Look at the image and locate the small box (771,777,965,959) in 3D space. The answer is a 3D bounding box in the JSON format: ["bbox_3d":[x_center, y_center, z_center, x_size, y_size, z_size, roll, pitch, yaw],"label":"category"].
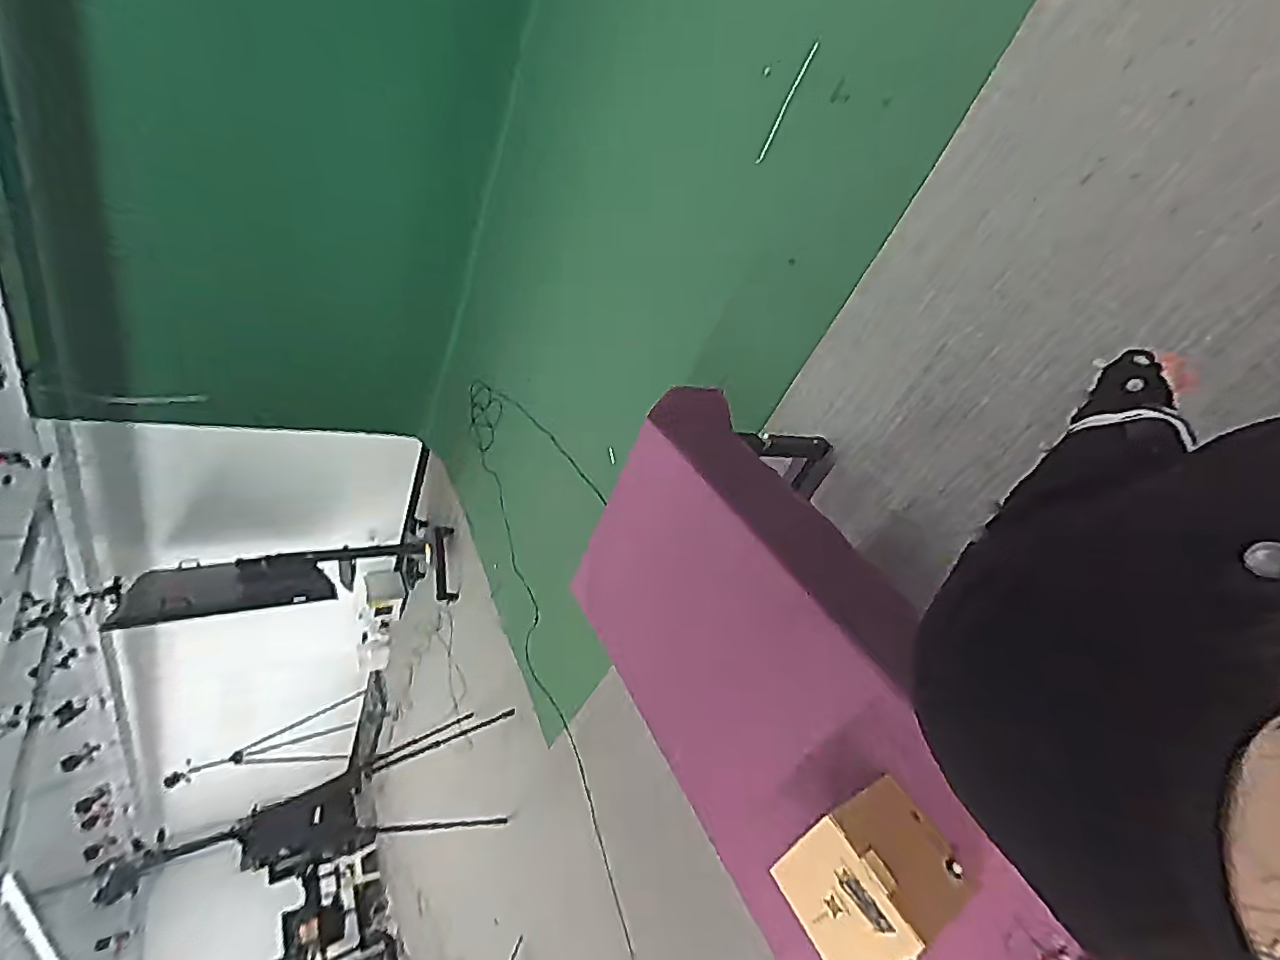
[{"bbox_3d":[0.335,0.575,0.791,0.168,0.176,0.179,51,130,39],"label":"small box"}]
